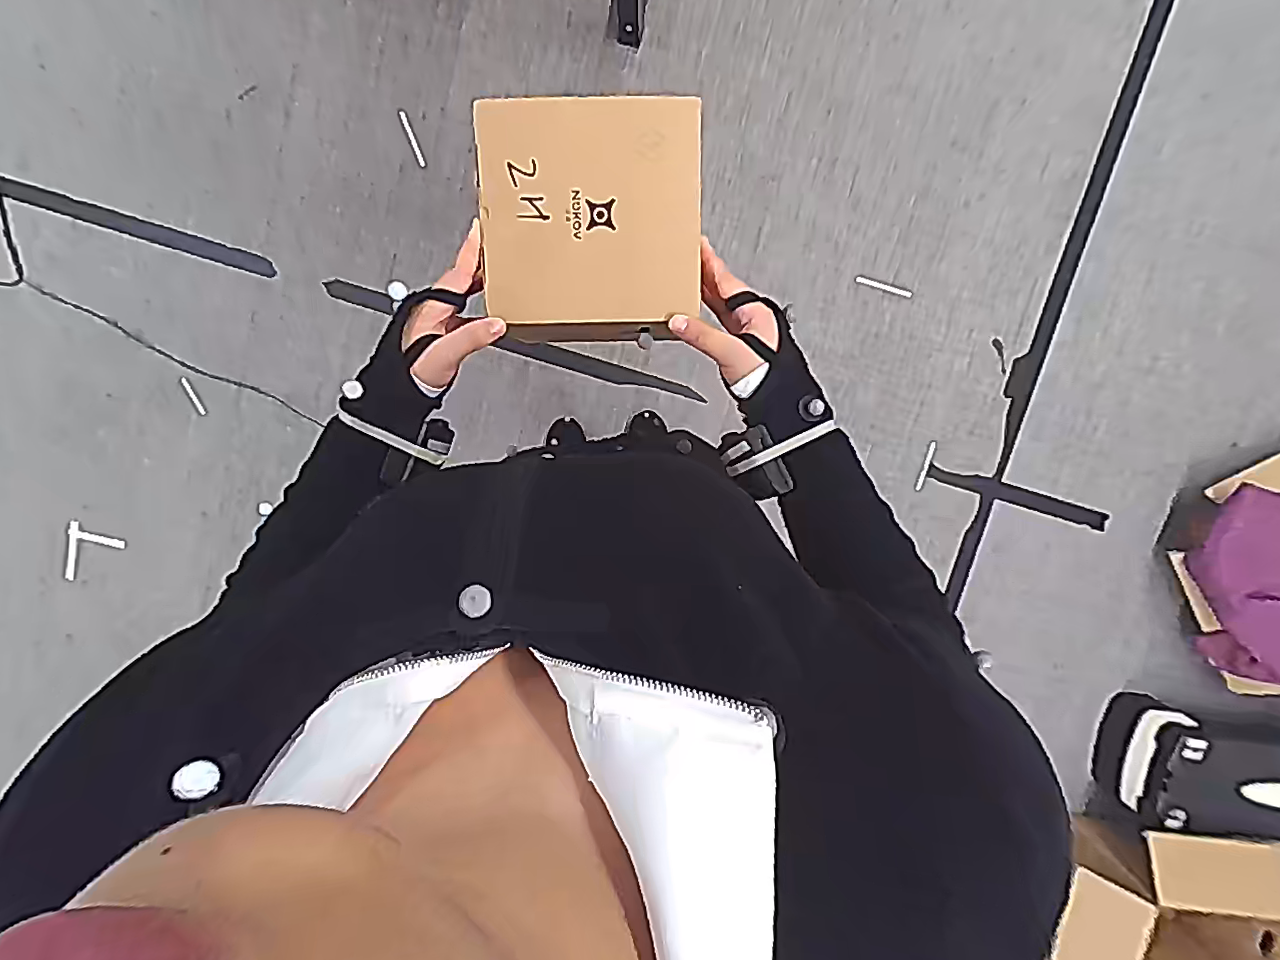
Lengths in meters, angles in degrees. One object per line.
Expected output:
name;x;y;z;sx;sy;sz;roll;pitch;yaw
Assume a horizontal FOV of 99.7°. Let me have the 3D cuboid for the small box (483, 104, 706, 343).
small box;-0.036;-0.222;0.510;0.179;0.176;0.168;-1;99;0
